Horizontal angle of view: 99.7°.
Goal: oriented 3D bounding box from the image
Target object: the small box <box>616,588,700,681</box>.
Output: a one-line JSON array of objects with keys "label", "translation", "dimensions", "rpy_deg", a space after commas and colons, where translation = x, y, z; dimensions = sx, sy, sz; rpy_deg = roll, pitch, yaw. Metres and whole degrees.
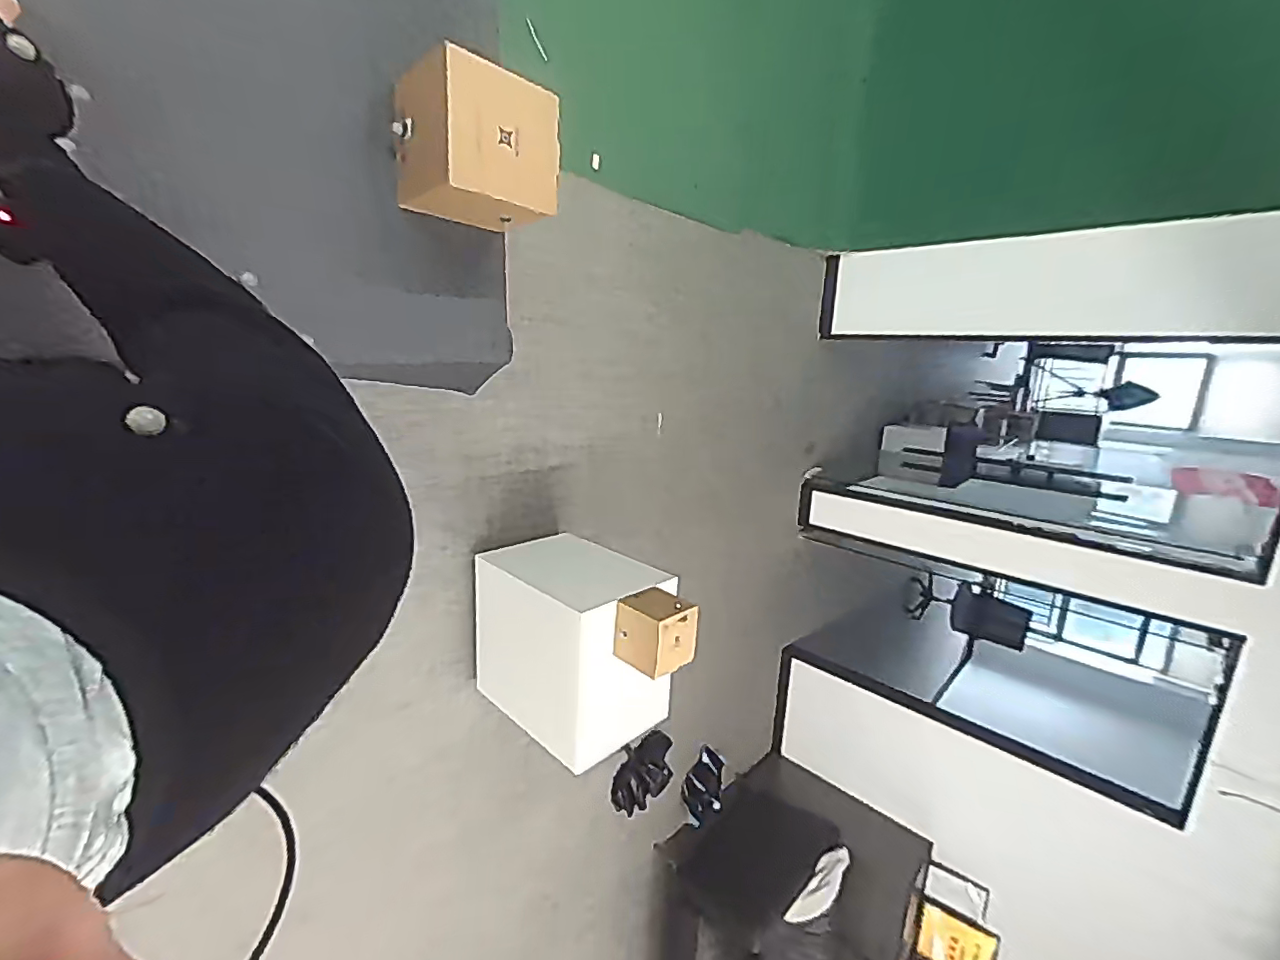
[{"label": "small box", "translation": [0.048, 0.432, 1.537], "dimensions": [0.168, 0.176, 0.179], "rpy_deg": [-9, 109, -46]}]

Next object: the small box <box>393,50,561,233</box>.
[{"label": "small box", "translation": [-0.236, -0.469, 0.786], "dimensions": [0.179, 0.176, 0.168], "rpy_deg": [-9, 106, -44]}]
